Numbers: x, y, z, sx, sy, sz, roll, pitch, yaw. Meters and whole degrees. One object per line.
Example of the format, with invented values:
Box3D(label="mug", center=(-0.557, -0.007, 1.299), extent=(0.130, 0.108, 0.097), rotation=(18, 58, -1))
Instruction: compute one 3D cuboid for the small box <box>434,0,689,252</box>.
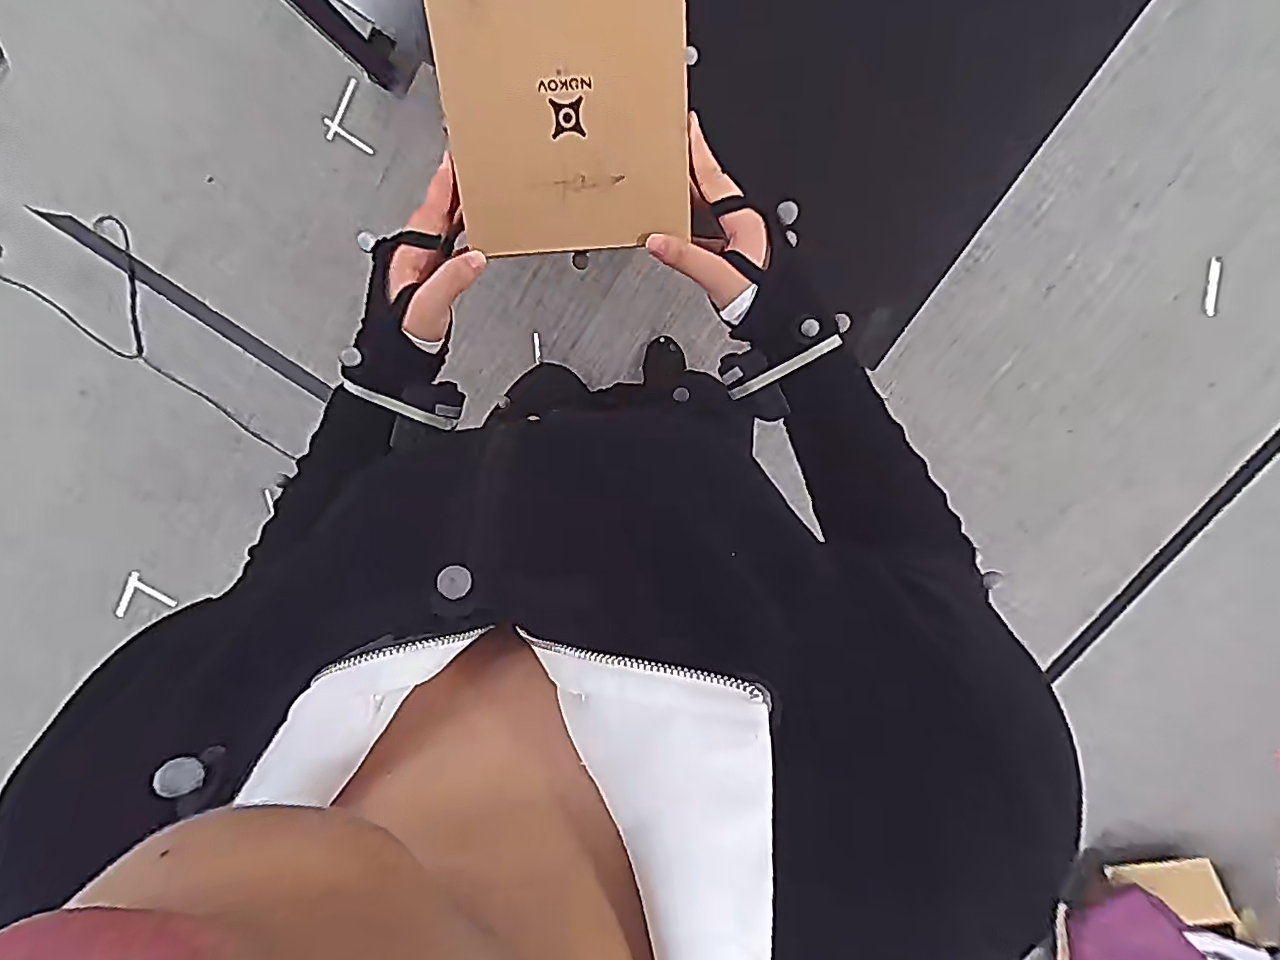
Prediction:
Box3D(label="small box", center=(-0.051, -0.286, 0.445), extent=(0.168, 0.176, 0.179), rotation=(-4, 114, 1))
